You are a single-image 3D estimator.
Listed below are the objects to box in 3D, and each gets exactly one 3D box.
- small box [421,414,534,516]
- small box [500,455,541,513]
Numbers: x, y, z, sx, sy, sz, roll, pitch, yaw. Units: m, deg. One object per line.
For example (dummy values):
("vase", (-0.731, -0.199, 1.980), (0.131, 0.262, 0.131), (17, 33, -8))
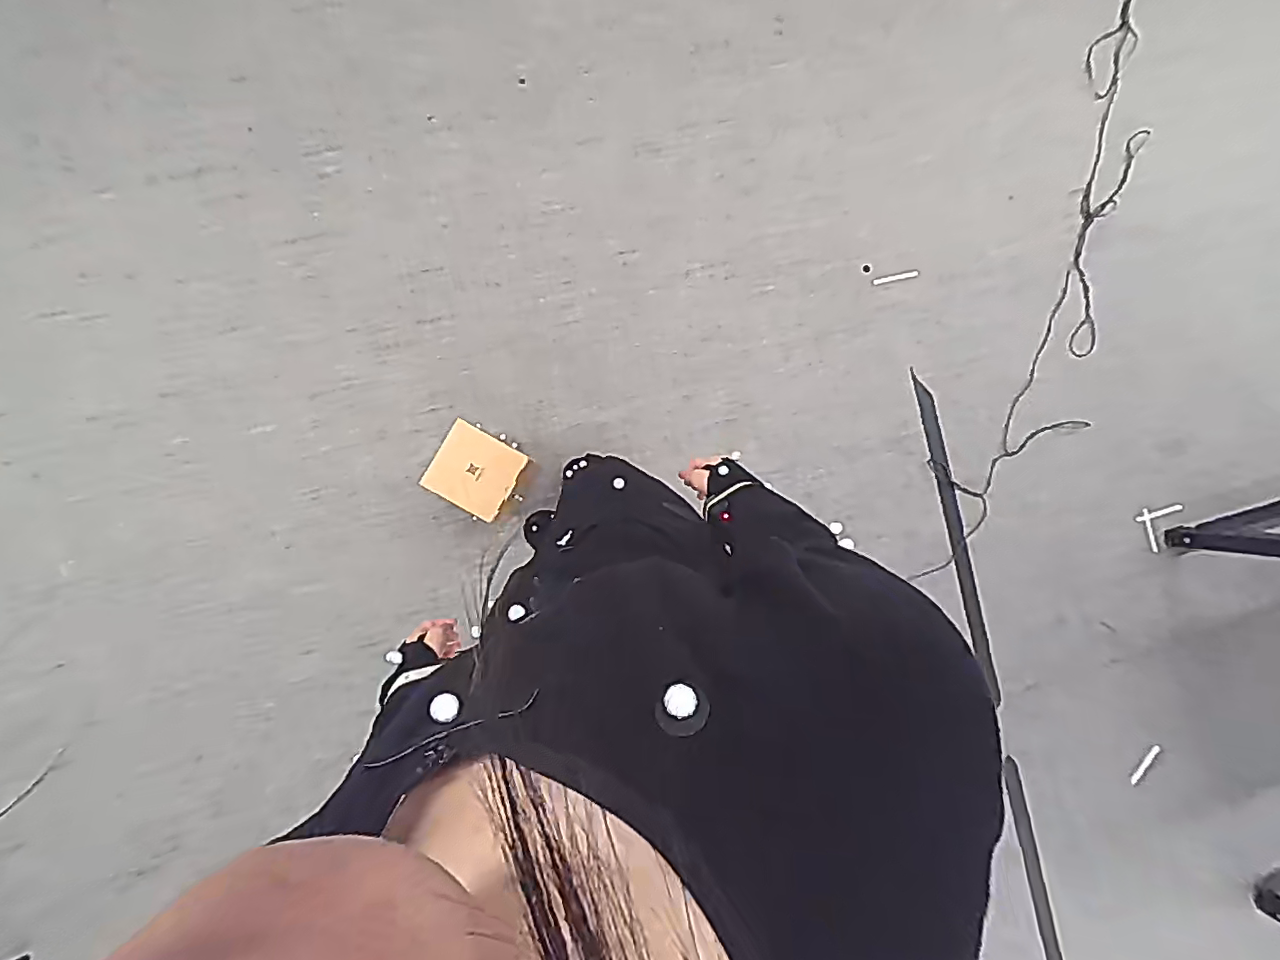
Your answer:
("small box", (-0.360, -0.029, 1.235), (0.179, 0.176, 0.168), (30, 86, -5))
("small box", (-0.375, -0.025, 1.398), (0.179, 0.176, 0.168), (30, 87, -4))
